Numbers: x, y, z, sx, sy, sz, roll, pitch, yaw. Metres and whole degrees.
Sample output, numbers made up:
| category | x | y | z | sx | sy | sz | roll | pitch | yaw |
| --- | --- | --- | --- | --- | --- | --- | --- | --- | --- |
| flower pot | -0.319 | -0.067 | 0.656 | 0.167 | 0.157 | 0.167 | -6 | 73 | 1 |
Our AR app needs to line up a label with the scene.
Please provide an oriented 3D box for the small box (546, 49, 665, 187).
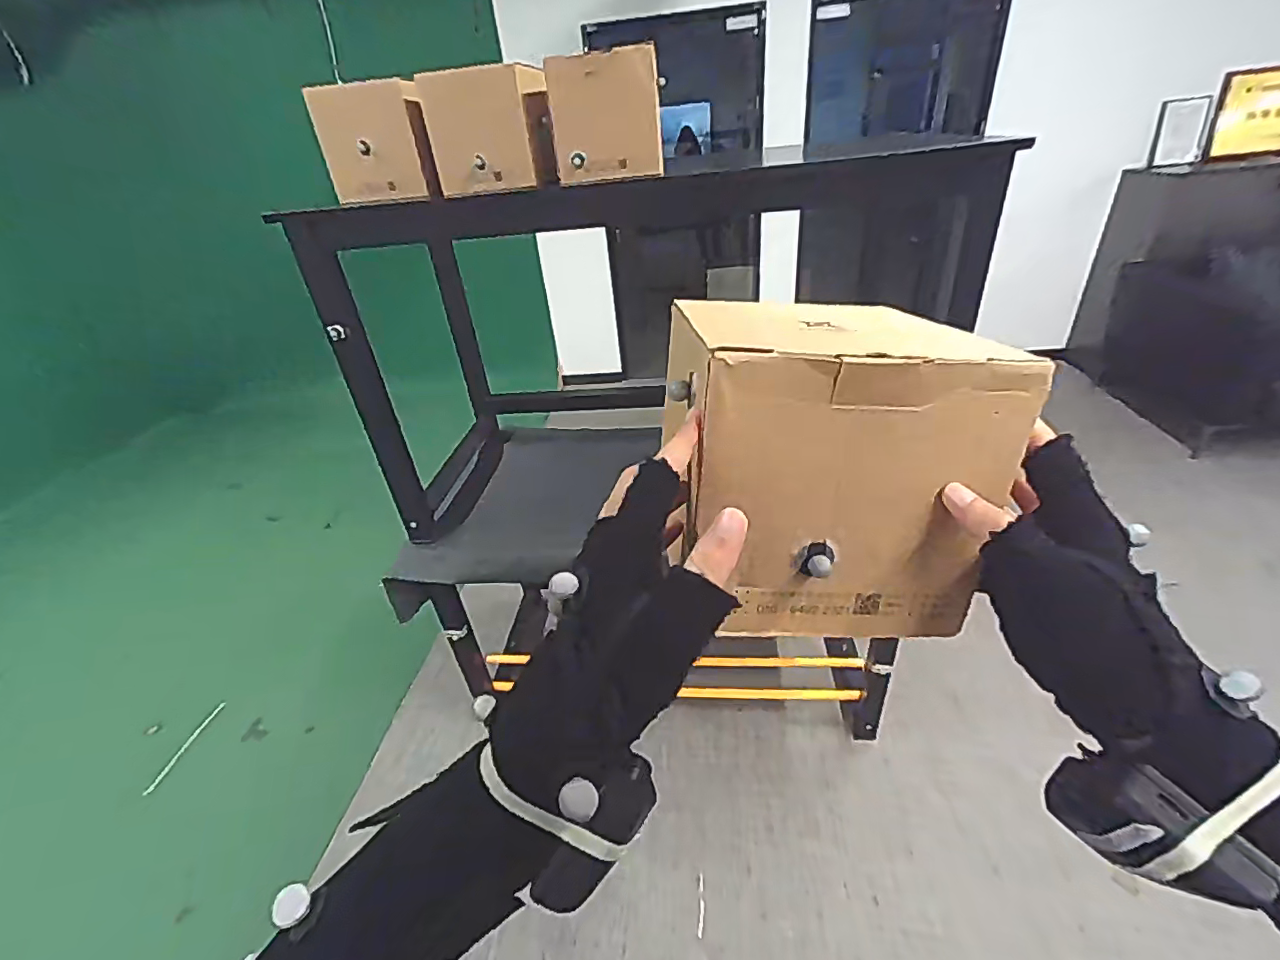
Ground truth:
| category | x | y | z | sx | sy | sz | roll | pitch | yaw |
| --- | --- | --- | --- | --- | --- | --- | --- | --- | --- |
| small box | -0.047 | -0.595 | 0.905 | 0.168 | 0.176 | 0.179 | -3 | 31 | 6 |

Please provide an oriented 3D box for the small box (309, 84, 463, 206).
| category | x | y | z | sx | sy | sz | roll | pitch | yaw |
| --- | --- | --- | --- | --- | --- | --- | --- | --- | --- |
| small box | -0.439 | -0.596 | 0.973 | 0.168 | 0.176 | 0.179 | 0 | 32 | 7 |

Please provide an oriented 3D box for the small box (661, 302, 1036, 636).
| category | x | y | z | sx | sy | sz | roll | pitch | yaw |
| --- | --- | --- | --- | --- | --- | --- | --- | --- | --- |
| small box | 0.104 | -0.019 | 0.366 | 0.168 | 0.176 | 0.179 | 1 | 25 | -3 |
